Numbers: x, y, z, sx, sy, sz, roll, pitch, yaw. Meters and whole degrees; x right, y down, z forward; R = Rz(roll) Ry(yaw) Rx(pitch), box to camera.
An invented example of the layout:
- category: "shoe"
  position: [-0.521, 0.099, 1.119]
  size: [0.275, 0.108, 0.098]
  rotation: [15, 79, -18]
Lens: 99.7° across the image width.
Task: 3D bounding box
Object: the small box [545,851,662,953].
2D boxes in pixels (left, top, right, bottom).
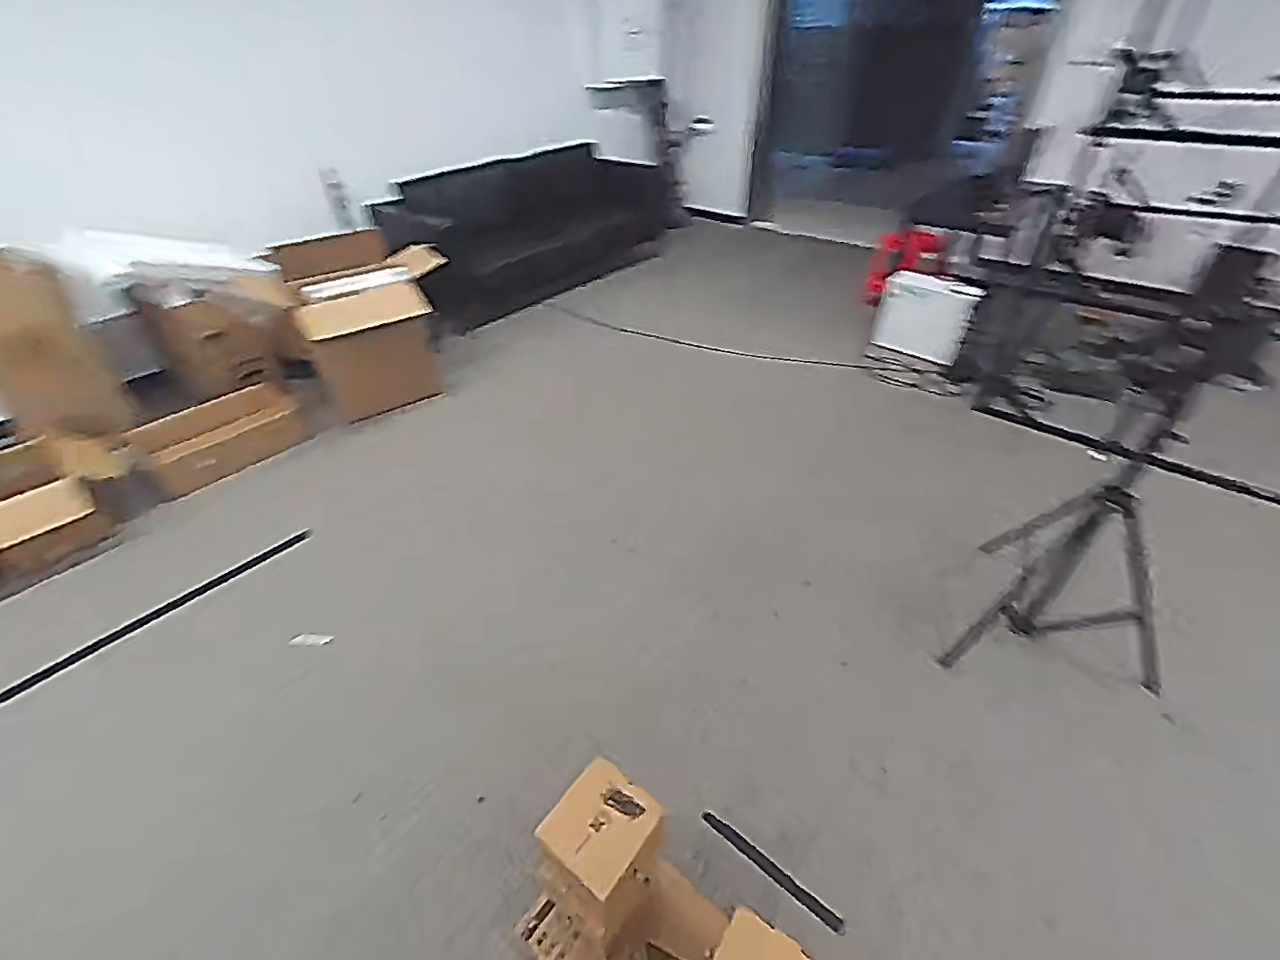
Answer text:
- category: "small box"
  position: [-0.073, 0.810, 1.112]
  size: [0.168, 0.176, 0.179]
  rotation: [28, 47, 31]

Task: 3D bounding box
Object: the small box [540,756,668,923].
- category: "small box"
  position: [-0.066, 0.674, 1.019]
  size: [0.168, 0.176, 0.179]
  rotation: [27, 47, 29]

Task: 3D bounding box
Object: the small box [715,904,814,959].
- category: "small box"
  position: [0.182, 0.822, 0.837]
  size: [0.168, 0.176, 0.179]
  rotation: [23, 45, 29]
